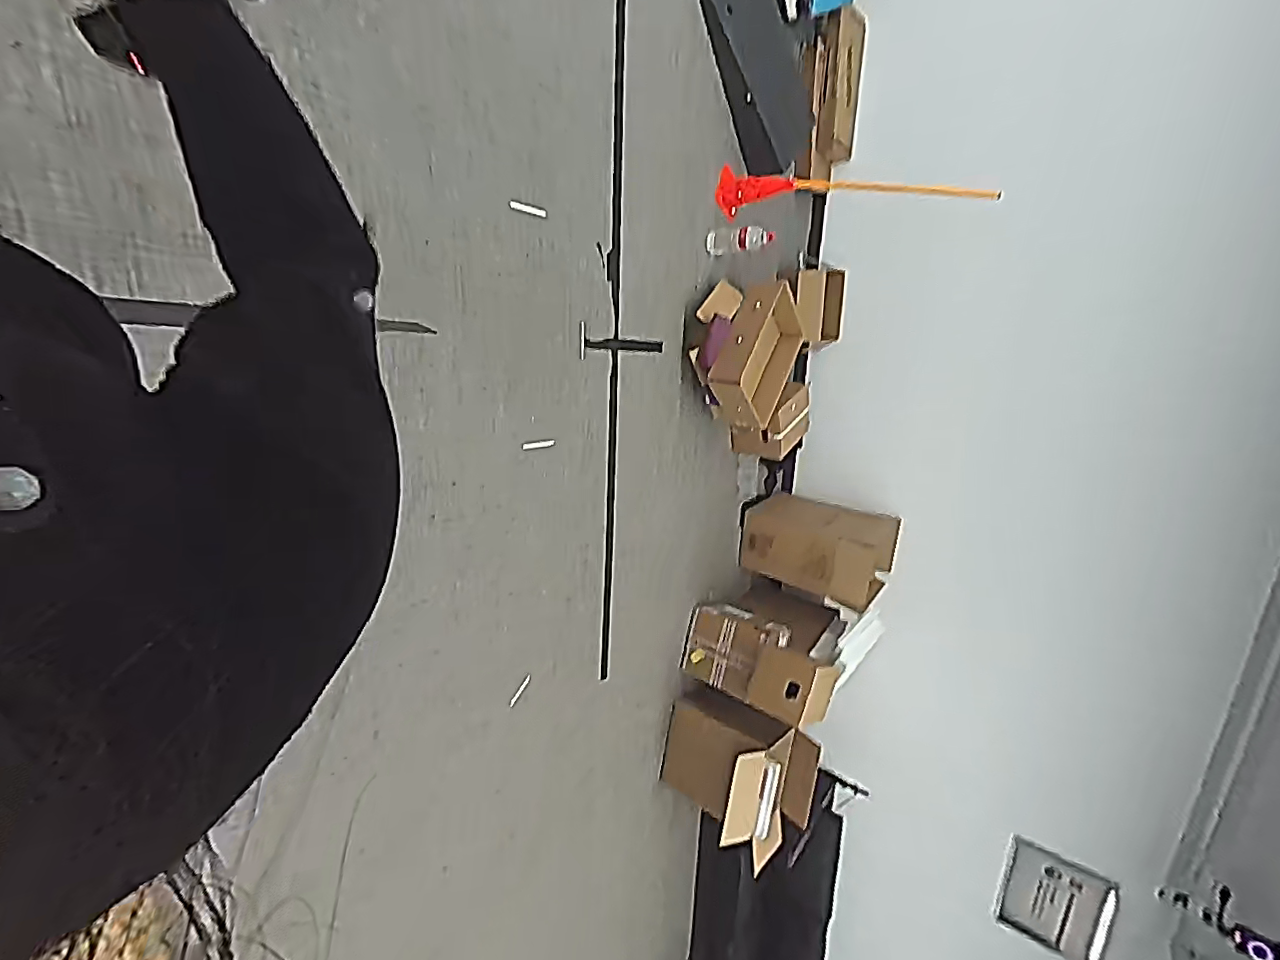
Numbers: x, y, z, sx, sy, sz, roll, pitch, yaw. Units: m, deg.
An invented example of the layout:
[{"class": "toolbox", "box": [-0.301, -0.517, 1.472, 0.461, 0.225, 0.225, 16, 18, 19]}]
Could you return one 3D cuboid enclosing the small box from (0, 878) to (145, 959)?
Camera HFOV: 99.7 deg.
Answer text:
[{"class": "small box", "box": [-1.190, 0.985, 1.130, 0.168, 0.176, 0.179, -28, 122, -47]}]
